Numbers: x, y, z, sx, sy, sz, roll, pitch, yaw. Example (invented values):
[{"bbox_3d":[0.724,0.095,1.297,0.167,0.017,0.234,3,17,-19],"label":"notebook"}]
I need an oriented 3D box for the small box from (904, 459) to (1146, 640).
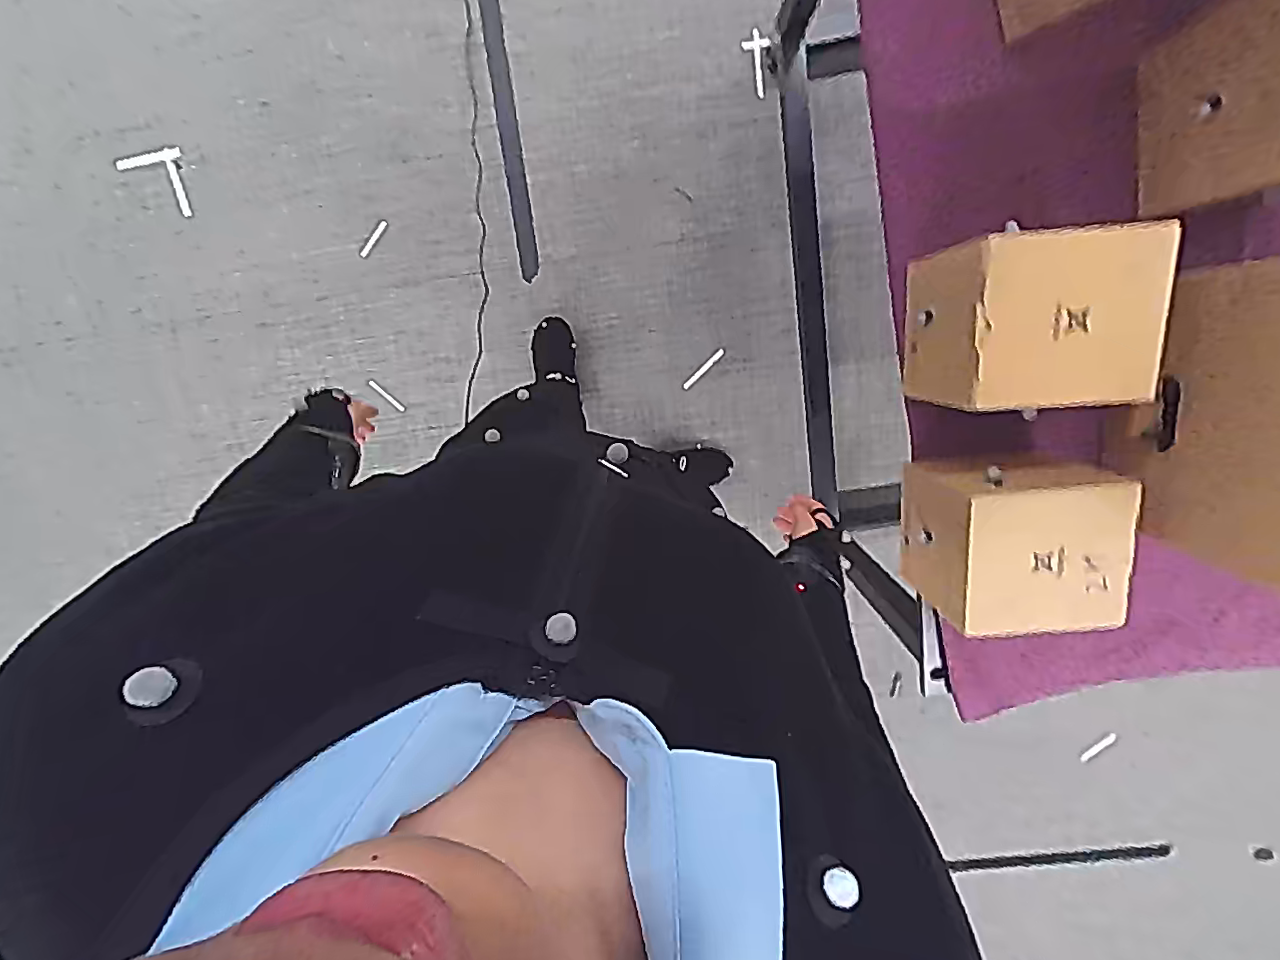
[{"bbox_3d":[0.440,0.074,0.652,0.179,0.176,0.168,-5,104,2],"label":"small box"}]
